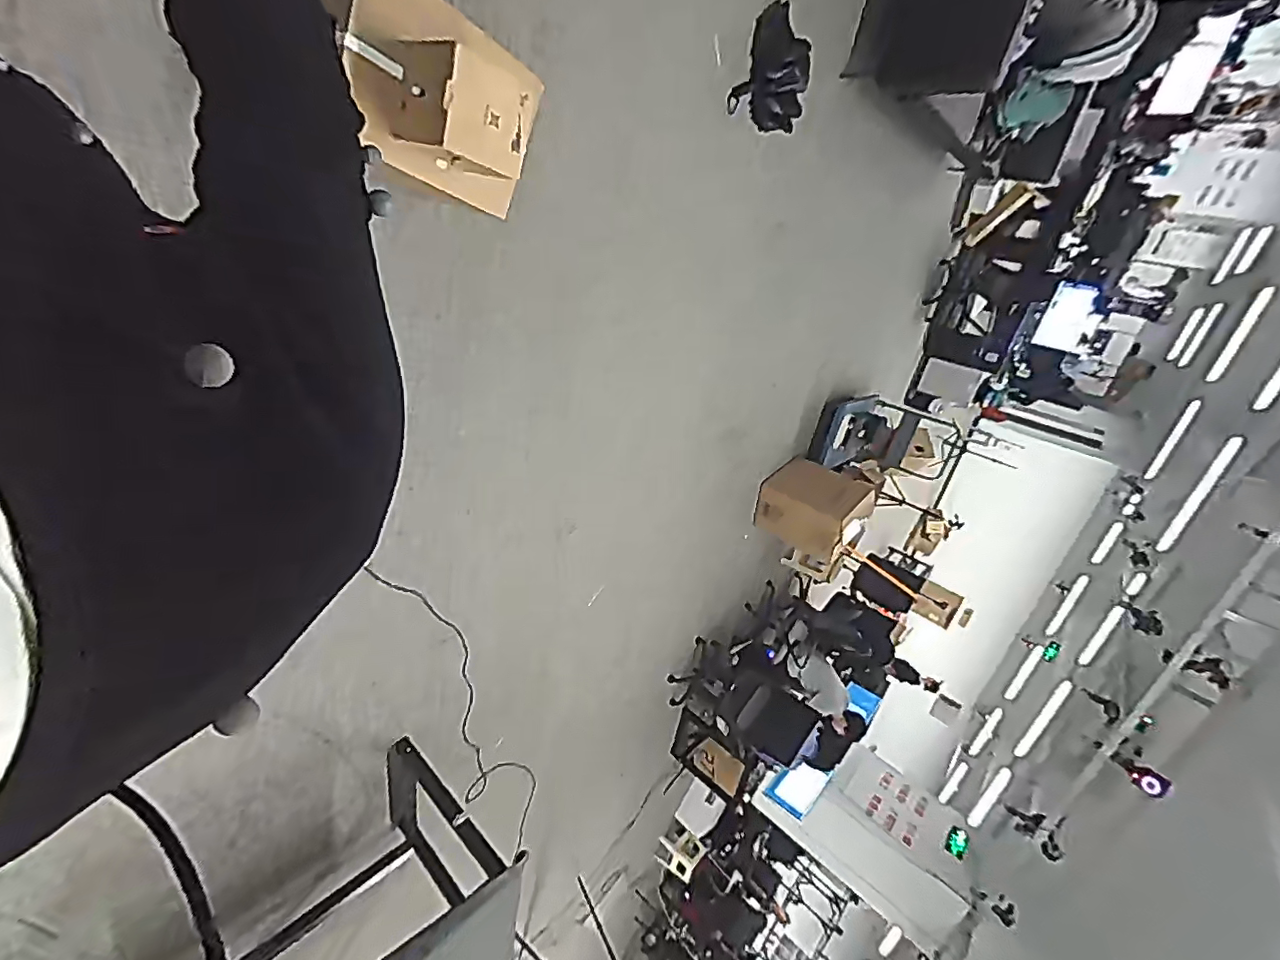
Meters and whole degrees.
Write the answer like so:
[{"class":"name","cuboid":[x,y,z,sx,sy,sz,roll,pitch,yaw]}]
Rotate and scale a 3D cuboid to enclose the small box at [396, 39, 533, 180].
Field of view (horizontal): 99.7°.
[{"class":"small box","cuboid":[-0.338,-0.695,1.028,0.179,0.176,0.168,-8,121,-51]}]
